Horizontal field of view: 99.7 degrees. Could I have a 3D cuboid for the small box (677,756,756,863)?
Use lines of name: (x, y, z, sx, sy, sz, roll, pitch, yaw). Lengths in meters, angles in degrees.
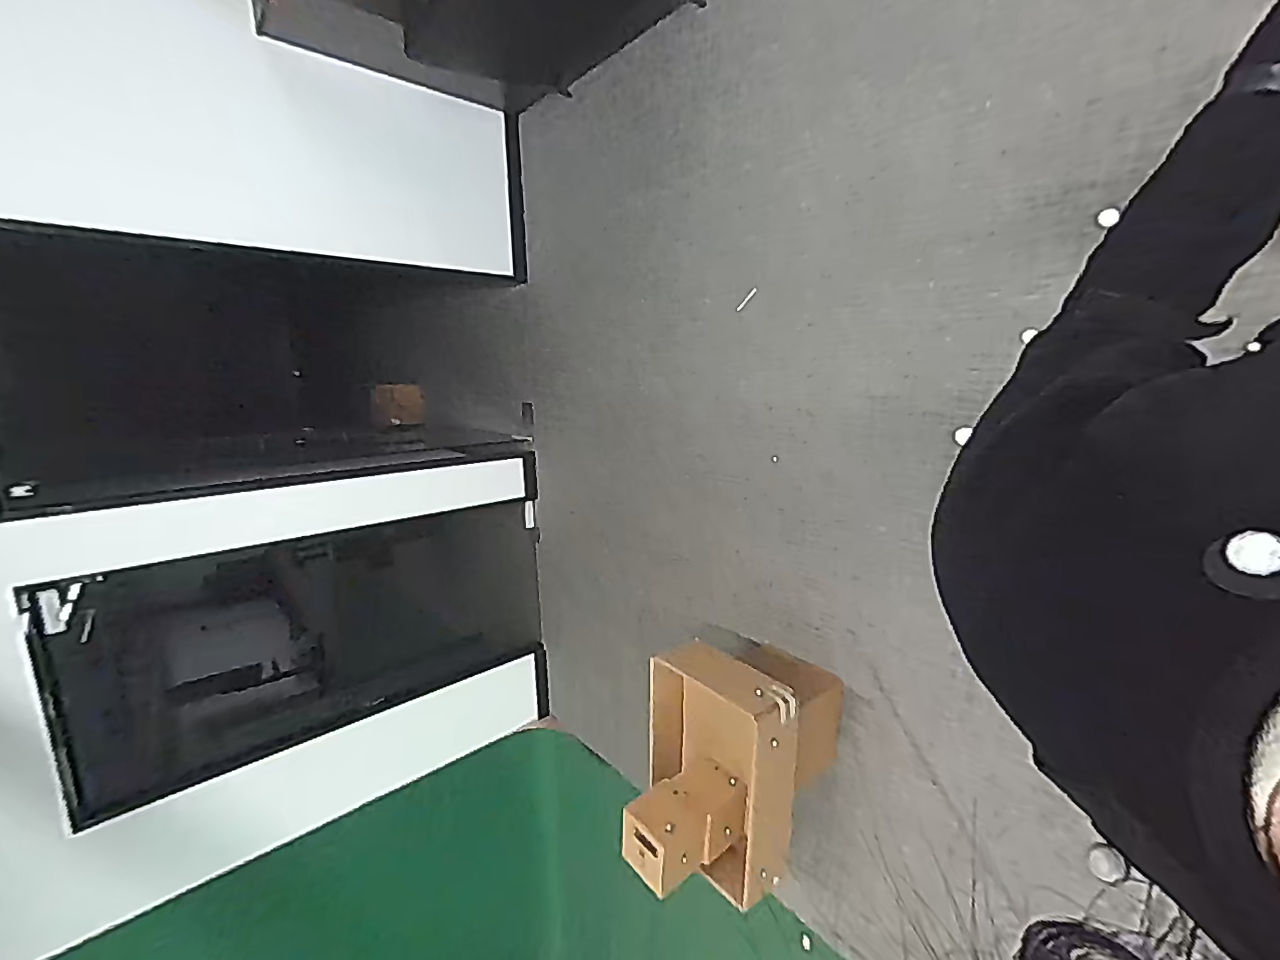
small box: (0.229, 0.964, 1.603, 0.168, 0.176, 0.179, 16, 110, 48)
